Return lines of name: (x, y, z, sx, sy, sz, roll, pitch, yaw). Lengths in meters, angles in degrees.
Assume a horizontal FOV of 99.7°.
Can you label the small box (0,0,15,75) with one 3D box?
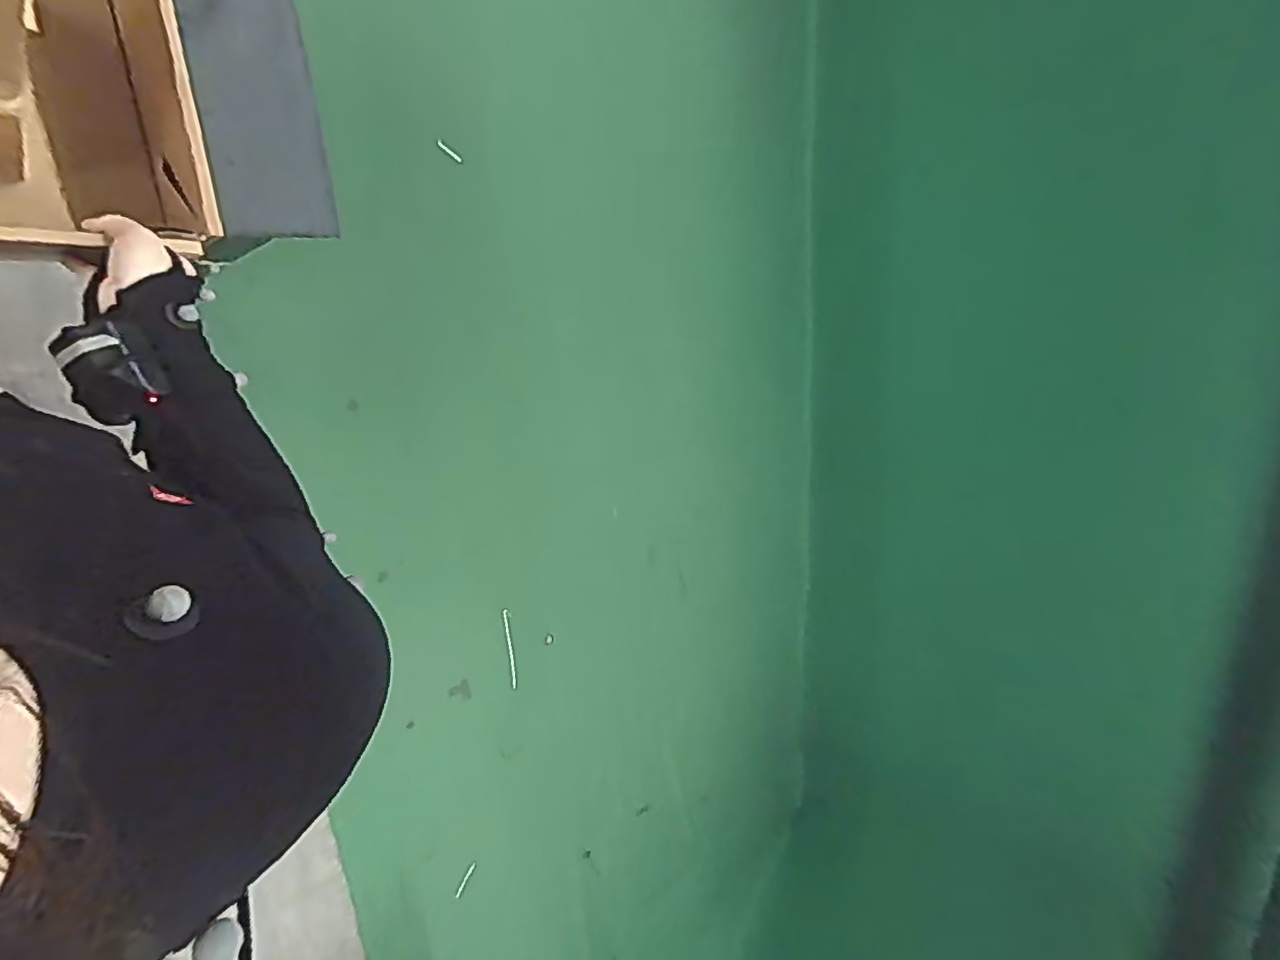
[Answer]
small box: (-0.431, -0.318, 0.241, 0.179, 0.176, 0.168, -21, 111, -47)
